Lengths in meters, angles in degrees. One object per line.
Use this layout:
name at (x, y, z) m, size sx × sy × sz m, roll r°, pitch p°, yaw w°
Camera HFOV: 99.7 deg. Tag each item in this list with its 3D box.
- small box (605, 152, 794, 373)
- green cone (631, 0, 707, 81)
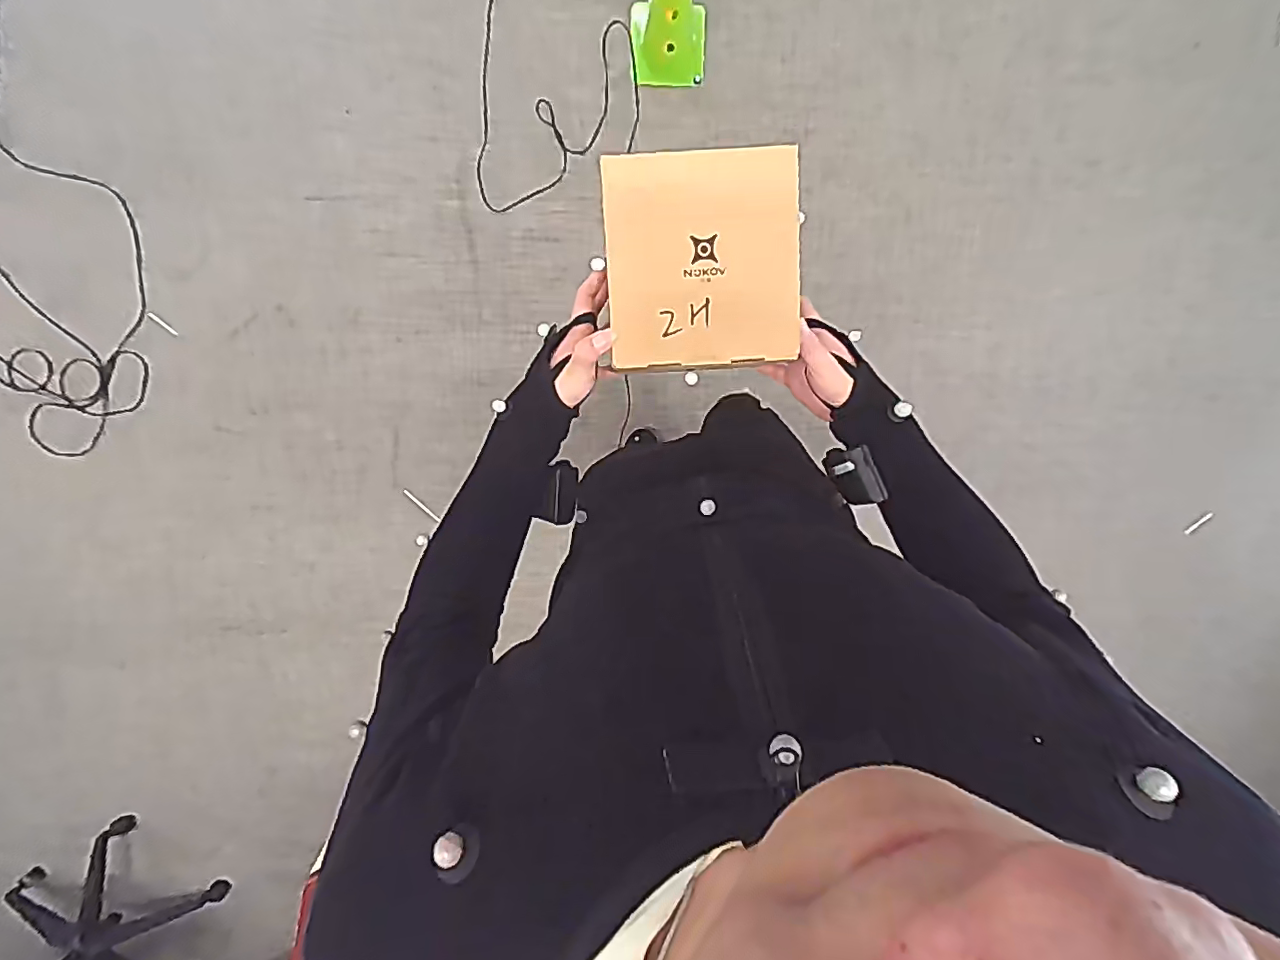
small box at (0.050, -0.203, 0.549) m, size 0.168 × 0.176 × 0.179 m, roll -2°, pitch 100°, yaw 0°
green cone at (0.078, -1.161, 1.283) m, size 0.202 × 0.368 × 0.200 m, roll 1°, pitch 98°, yaw 0°
